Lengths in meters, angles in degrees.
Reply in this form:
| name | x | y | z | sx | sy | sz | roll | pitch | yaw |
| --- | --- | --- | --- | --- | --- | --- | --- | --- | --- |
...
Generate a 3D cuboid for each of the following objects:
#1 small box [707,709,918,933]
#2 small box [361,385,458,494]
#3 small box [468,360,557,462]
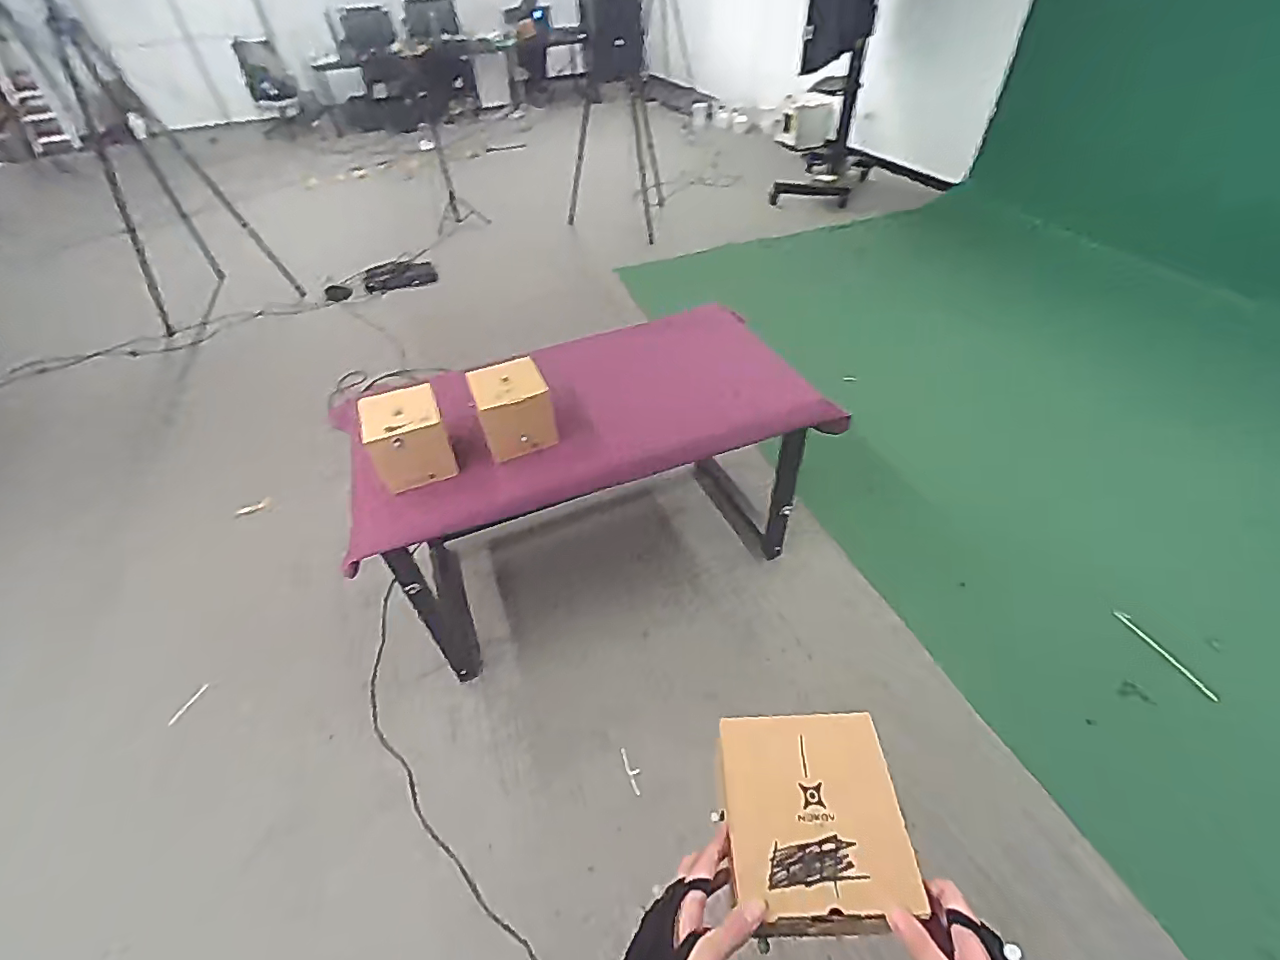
| name | x | y | z | sx | sy | sz | roll | pitch | yaw |
| --- | --- | --- | --- | --- | --- | --- | --- | --- | --- |
| small box | 0.163 | 0.368 | 0.579 | 0.168 | 0.176 | 0.179 | -3 | 45 | 1 |
| small box | -0.550 | -0.097 | 1.294 | 0.168 | 0.176 | 0.179 | -18 | 46 | -15 |
| small box | -0.319 | -0.173 | 1.361 | 0.168 | 0.176 | 0.179 | -19 | 47 | -15 |
